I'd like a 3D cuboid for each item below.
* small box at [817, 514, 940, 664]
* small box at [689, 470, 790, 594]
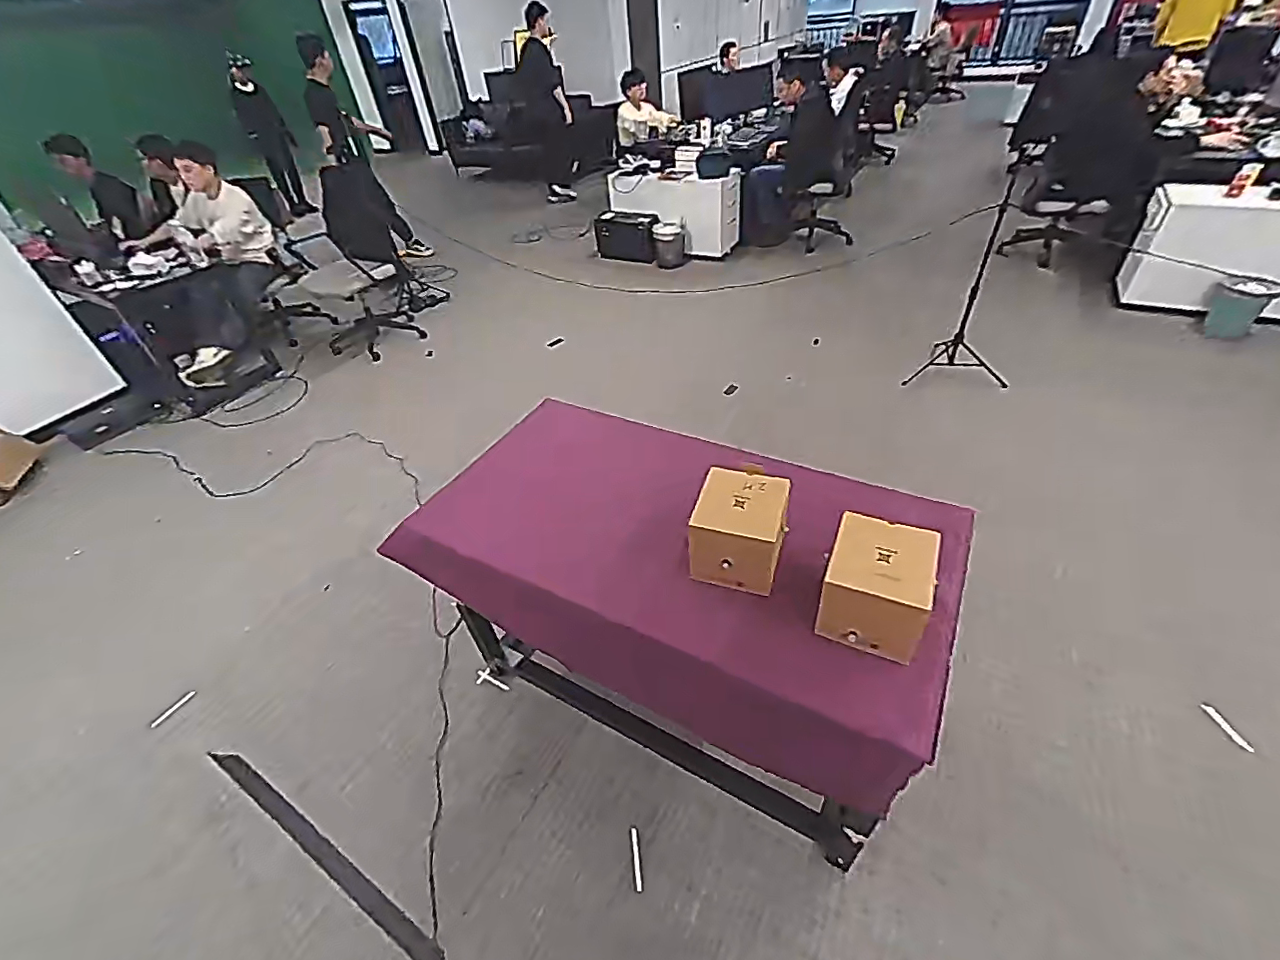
[{"bbox_3d":[0.429,0.197,0.986,0.168,0.176,0.179,14,45,24],"label":"small box"},{"bbox_3d":[0.207,0.108,1.115,0.168,0.176,0.179,11,44,18],"label":"small box"}]
